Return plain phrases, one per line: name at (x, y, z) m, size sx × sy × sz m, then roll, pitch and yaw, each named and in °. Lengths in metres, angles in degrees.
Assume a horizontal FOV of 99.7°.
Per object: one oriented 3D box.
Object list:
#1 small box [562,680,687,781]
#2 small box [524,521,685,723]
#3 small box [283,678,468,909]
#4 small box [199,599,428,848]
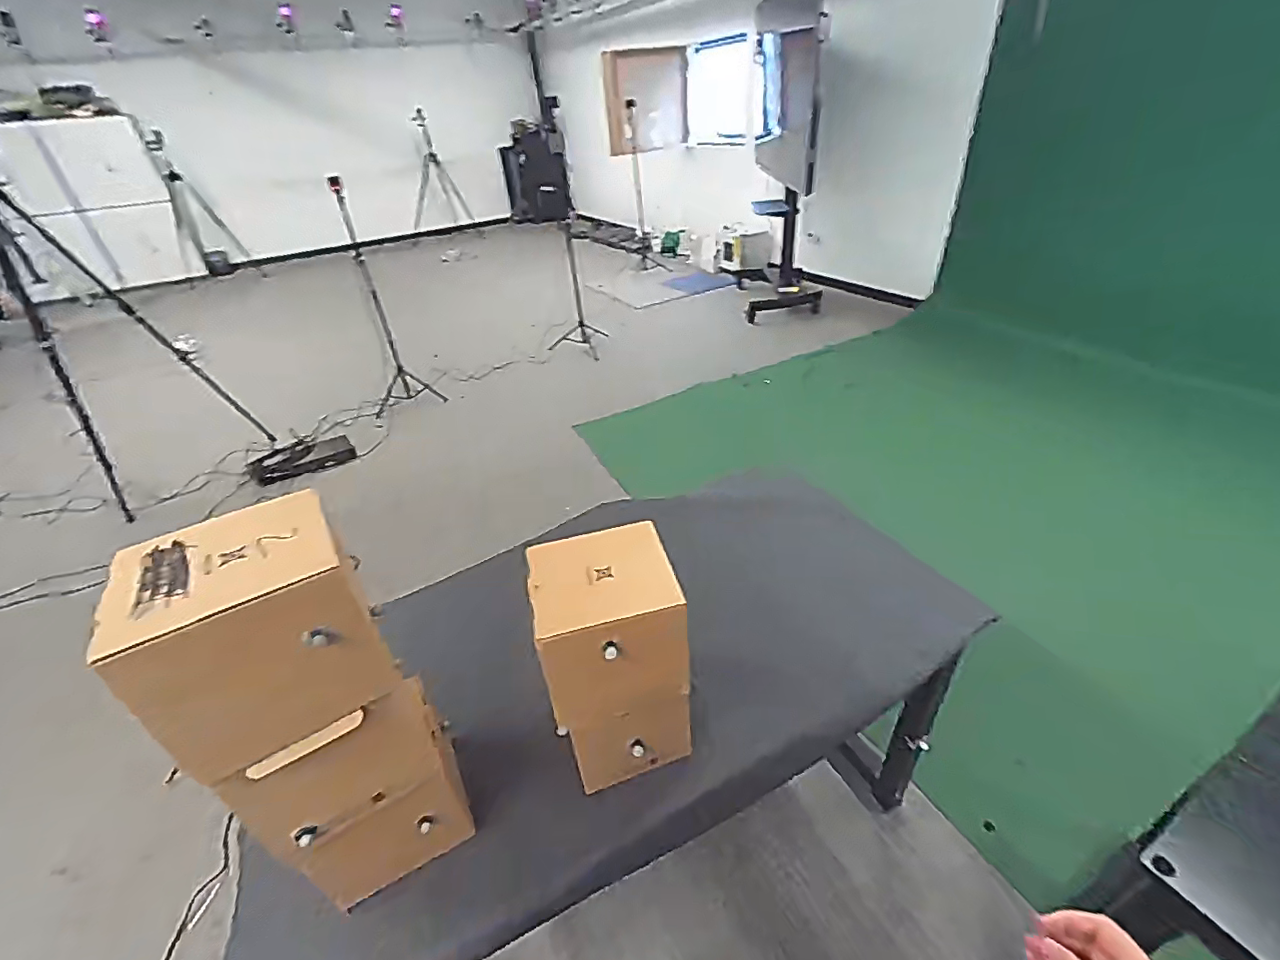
small box at (-0.037, 0.315, 0.807) m, size 0.168 × 0.176 × 0.179 m, roll -16°, pitch 36°, yaw -13°
small box at (-0.045, 0.184, 0.709) m, size 0.179 × 0.176 × 0.168 m, roll -13°, pitch 34°, yaw -8°
small box at (-0.343, 0.410, 0.719) m, size 0.179 × 0.176 × 0.168 m, roll -23°, pitch 36°, yaw -21°
small box at (-0.365, 0.279, 0.622) m, size 0.168 × 0.176 × 0.179 m, roll -24°, pitch 36°, yaw -25°
